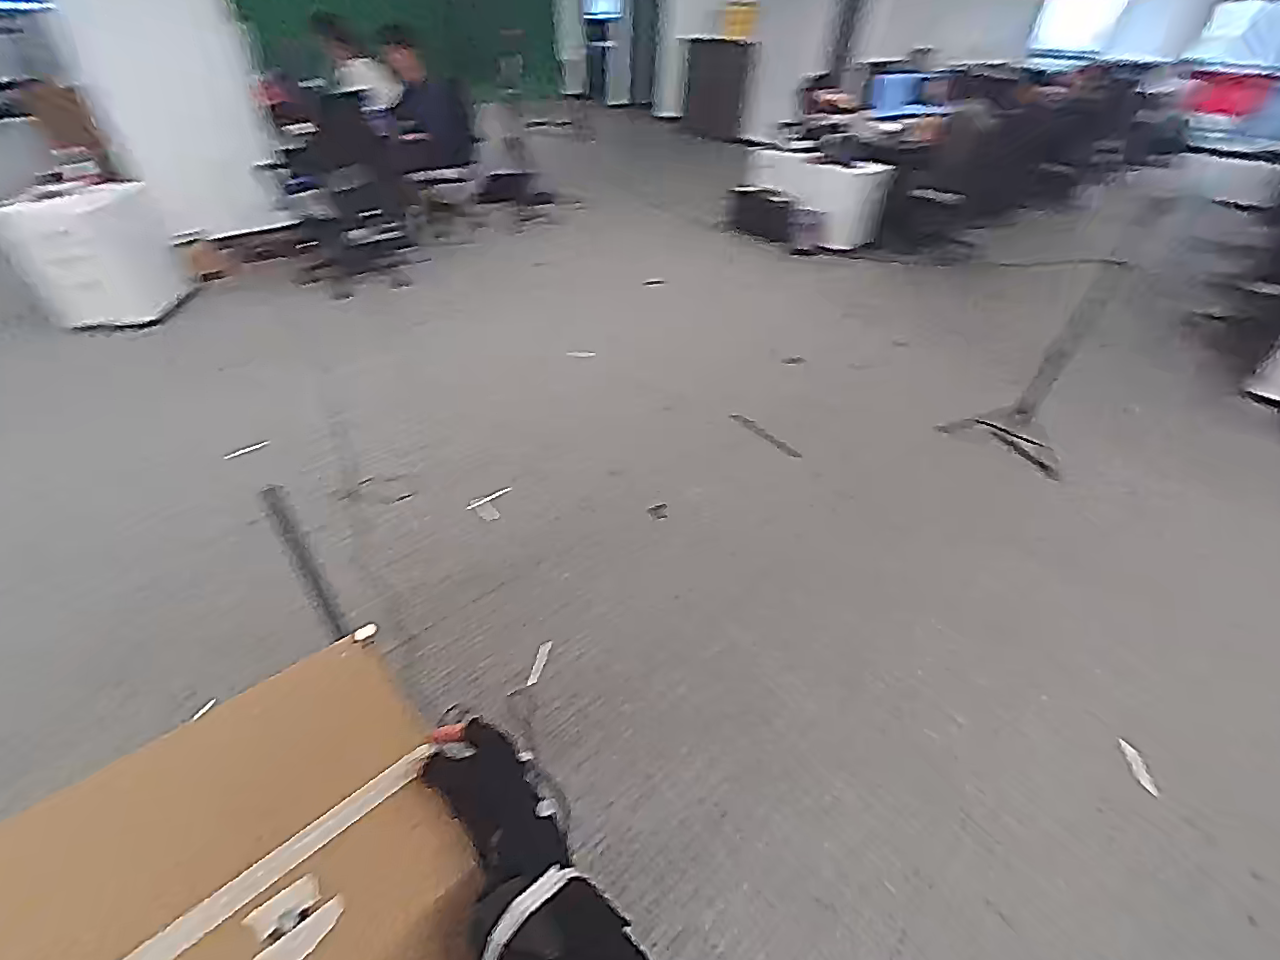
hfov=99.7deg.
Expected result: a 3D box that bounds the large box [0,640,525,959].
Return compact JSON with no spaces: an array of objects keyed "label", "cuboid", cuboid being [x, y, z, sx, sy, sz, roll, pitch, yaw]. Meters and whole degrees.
[{"label":"large box","cuboid":[-0.365,0.446,0.516,0.408,0.320,0.320,-28,60,-35]}]
